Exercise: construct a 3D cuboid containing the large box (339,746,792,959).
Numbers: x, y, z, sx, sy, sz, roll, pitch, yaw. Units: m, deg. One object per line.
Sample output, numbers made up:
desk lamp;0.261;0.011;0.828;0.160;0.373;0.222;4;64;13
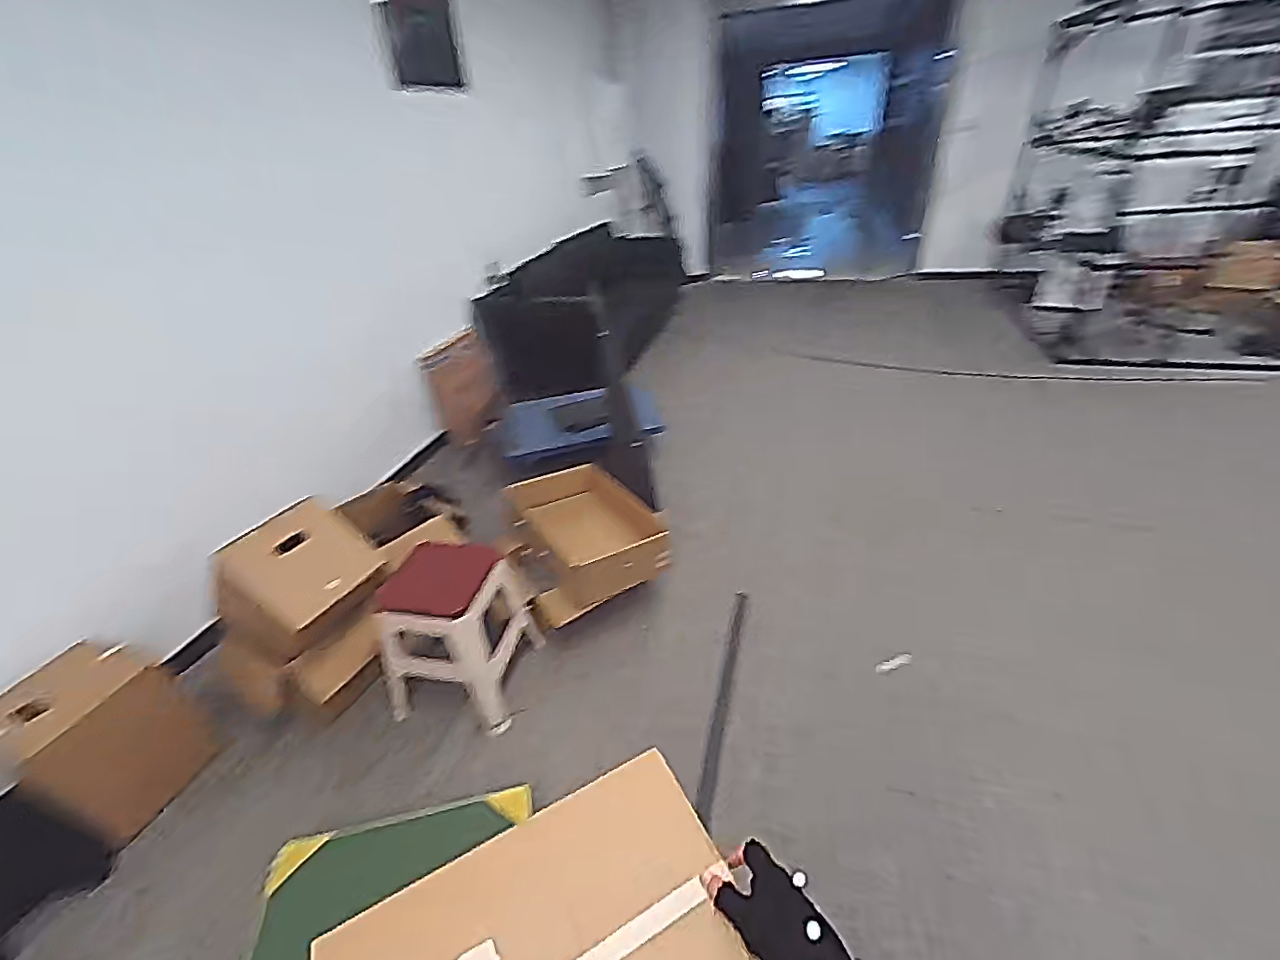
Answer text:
large box;-0.060;0.601;0.617;0.408;0.320;0.320;-20;41;-20
